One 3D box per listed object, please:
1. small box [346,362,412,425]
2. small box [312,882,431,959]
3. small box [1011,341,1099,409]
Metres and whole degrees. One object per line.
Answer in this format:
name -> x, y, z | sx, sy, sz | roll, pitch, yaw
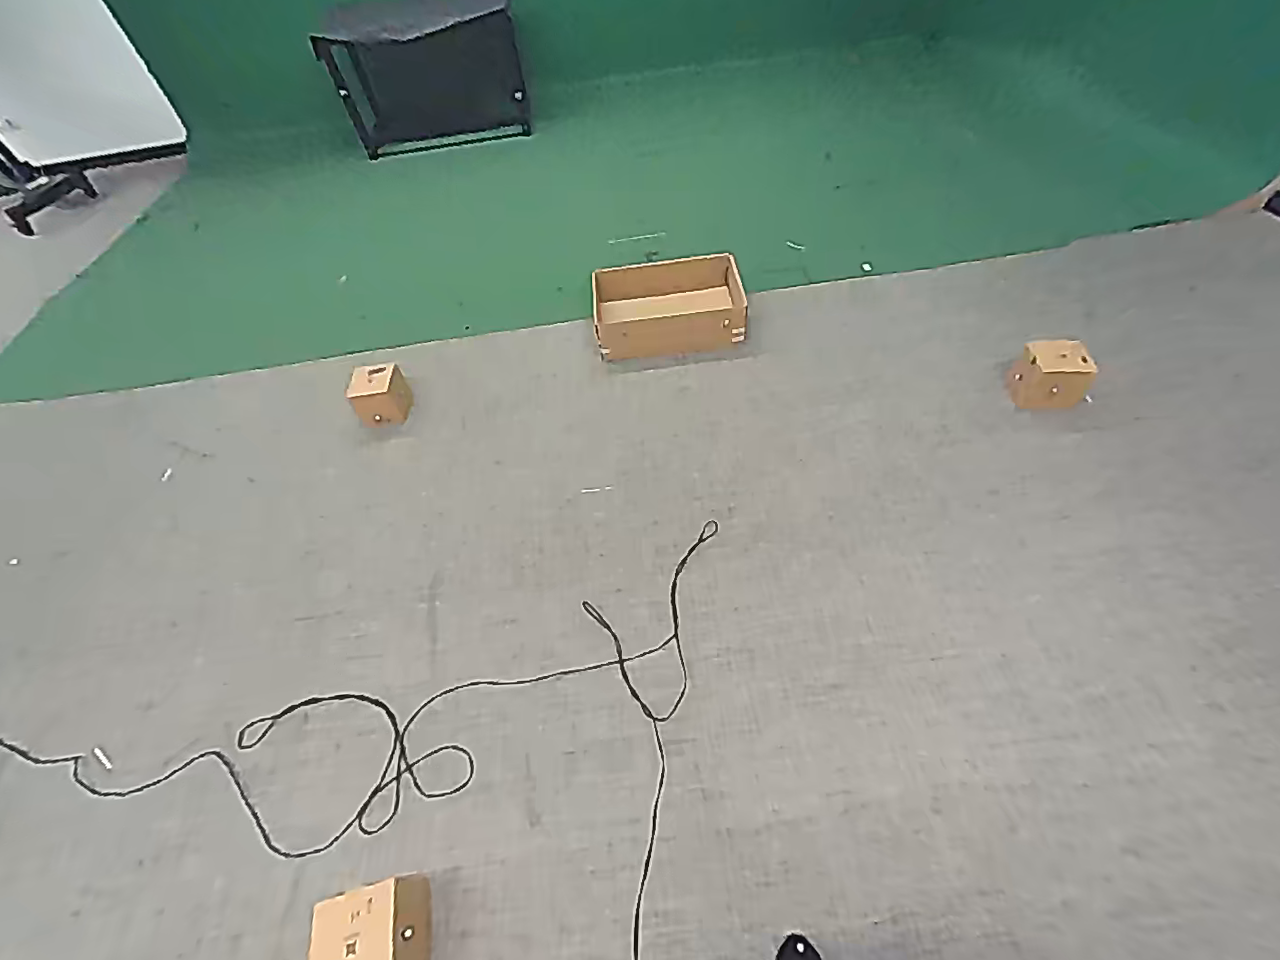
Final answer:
small box -> -1.032, -0.343, 2.159 | 0.168, 0.176, 0.179 | -7, 53, 1
small box -> -0.538, 0.946, 1.100 | 0.168, 0.176, 0.179 | -15, 51, -5
small box -> 1.420, -0.361, 1.872 | 0.179, 0.176, 0.168 | 1, 53, 9
